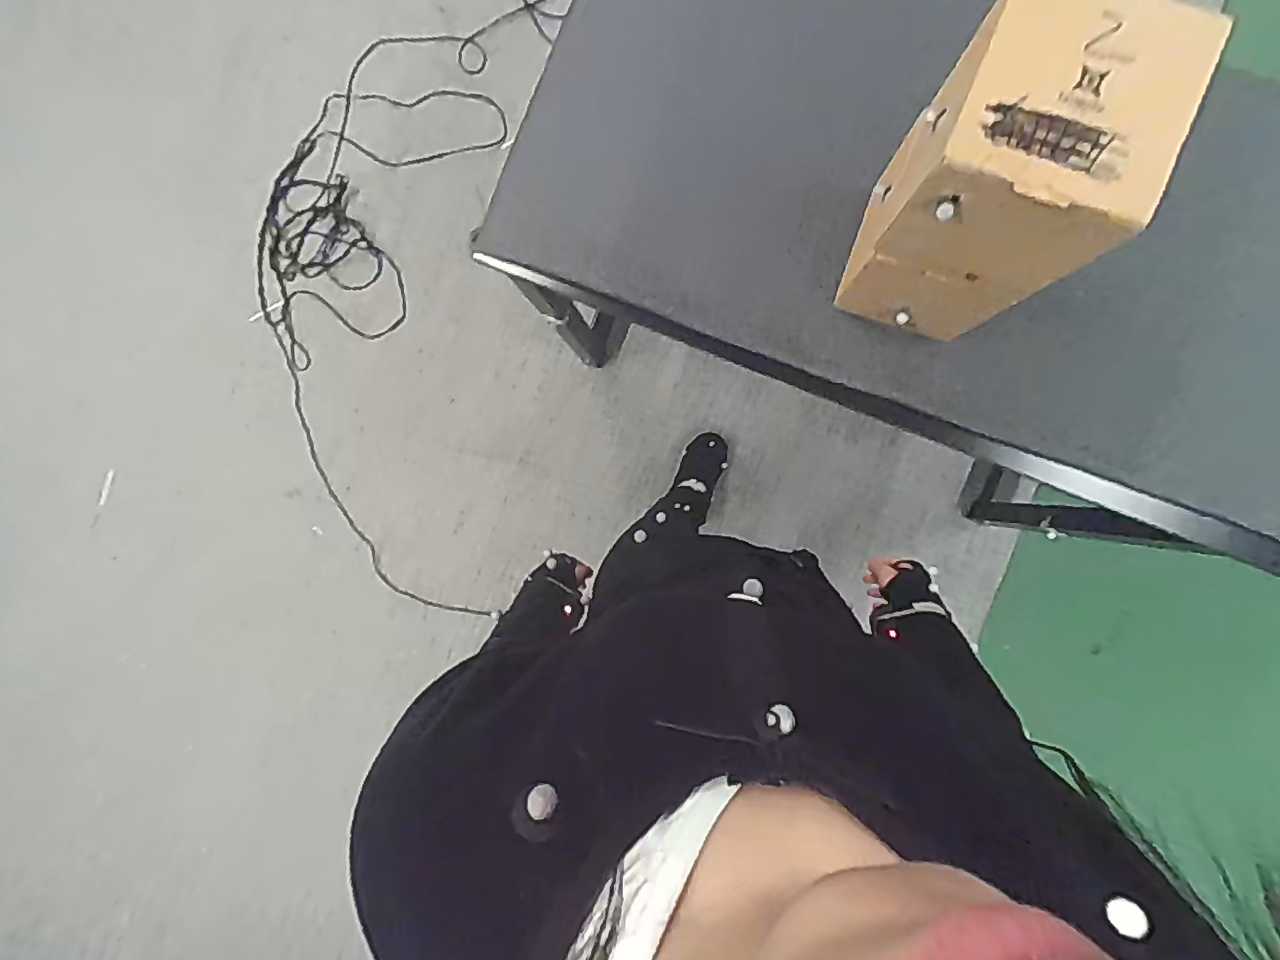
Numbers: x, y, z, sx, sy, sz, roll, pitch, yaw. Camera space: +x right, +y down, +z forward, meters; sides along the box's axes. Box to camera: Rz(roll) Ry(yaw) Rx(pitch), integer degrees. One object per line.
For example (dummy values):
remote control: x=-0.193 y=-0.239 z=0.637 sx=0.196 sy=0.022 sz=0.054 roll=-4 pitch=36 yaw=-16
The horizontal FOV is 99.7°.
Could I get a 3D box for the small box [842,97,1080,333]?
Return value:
small box: x=0.367 y=-0.304 z=0.655 sx=0.168 sy=0.176 sz=0.179 roll=19 pitch=90 yaw=5
